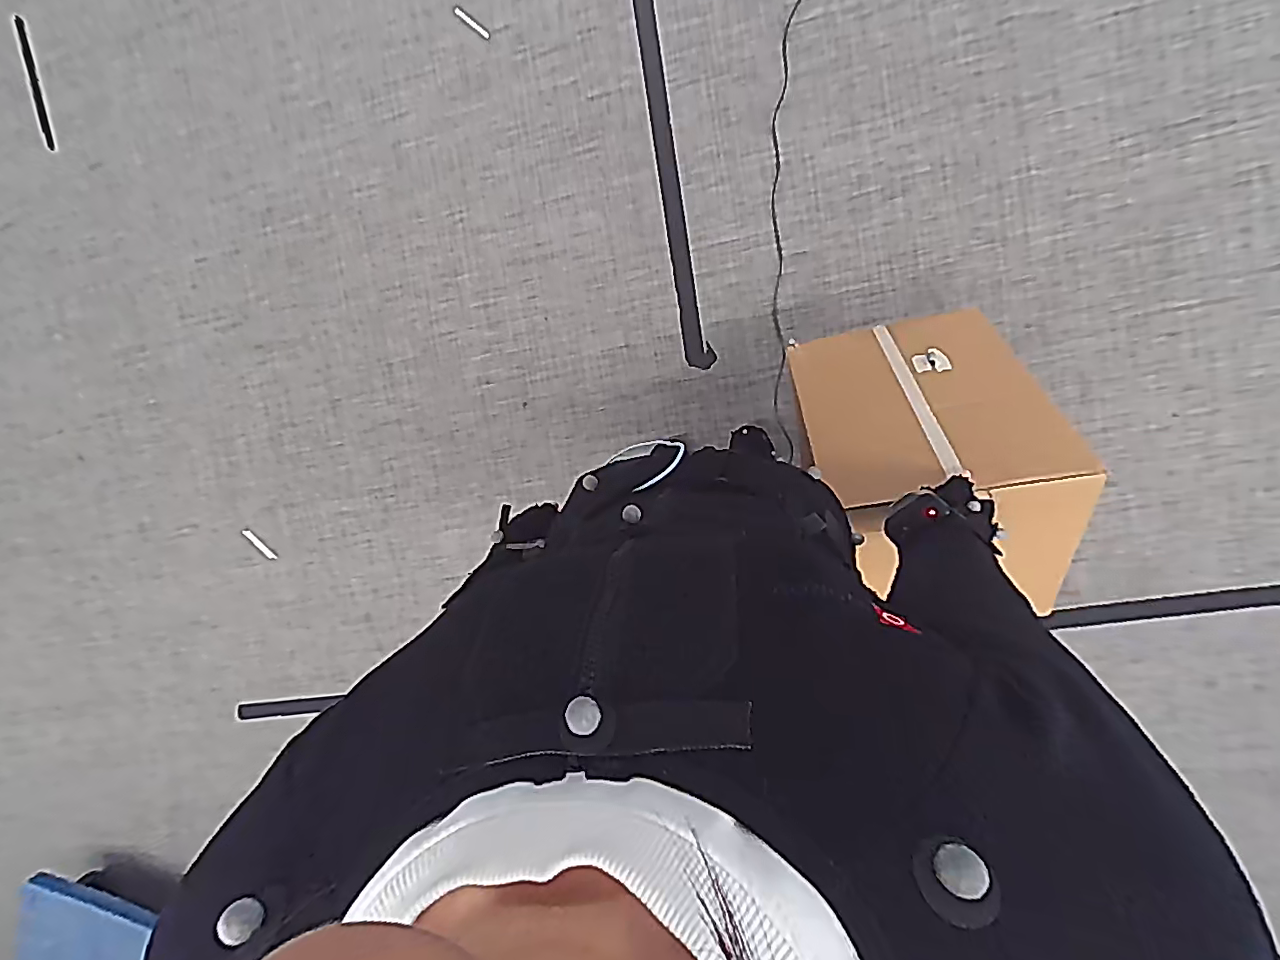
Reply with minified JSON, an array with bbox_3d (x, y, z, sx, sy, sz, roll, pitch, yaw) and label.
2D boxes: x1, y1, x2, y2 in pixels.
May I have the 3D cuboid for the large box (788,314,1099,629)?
[{"bbox_3d":[0.451,-0.016,0.910,0.320,0.408,0.320,-9,132,13],"label":"large box"}]
